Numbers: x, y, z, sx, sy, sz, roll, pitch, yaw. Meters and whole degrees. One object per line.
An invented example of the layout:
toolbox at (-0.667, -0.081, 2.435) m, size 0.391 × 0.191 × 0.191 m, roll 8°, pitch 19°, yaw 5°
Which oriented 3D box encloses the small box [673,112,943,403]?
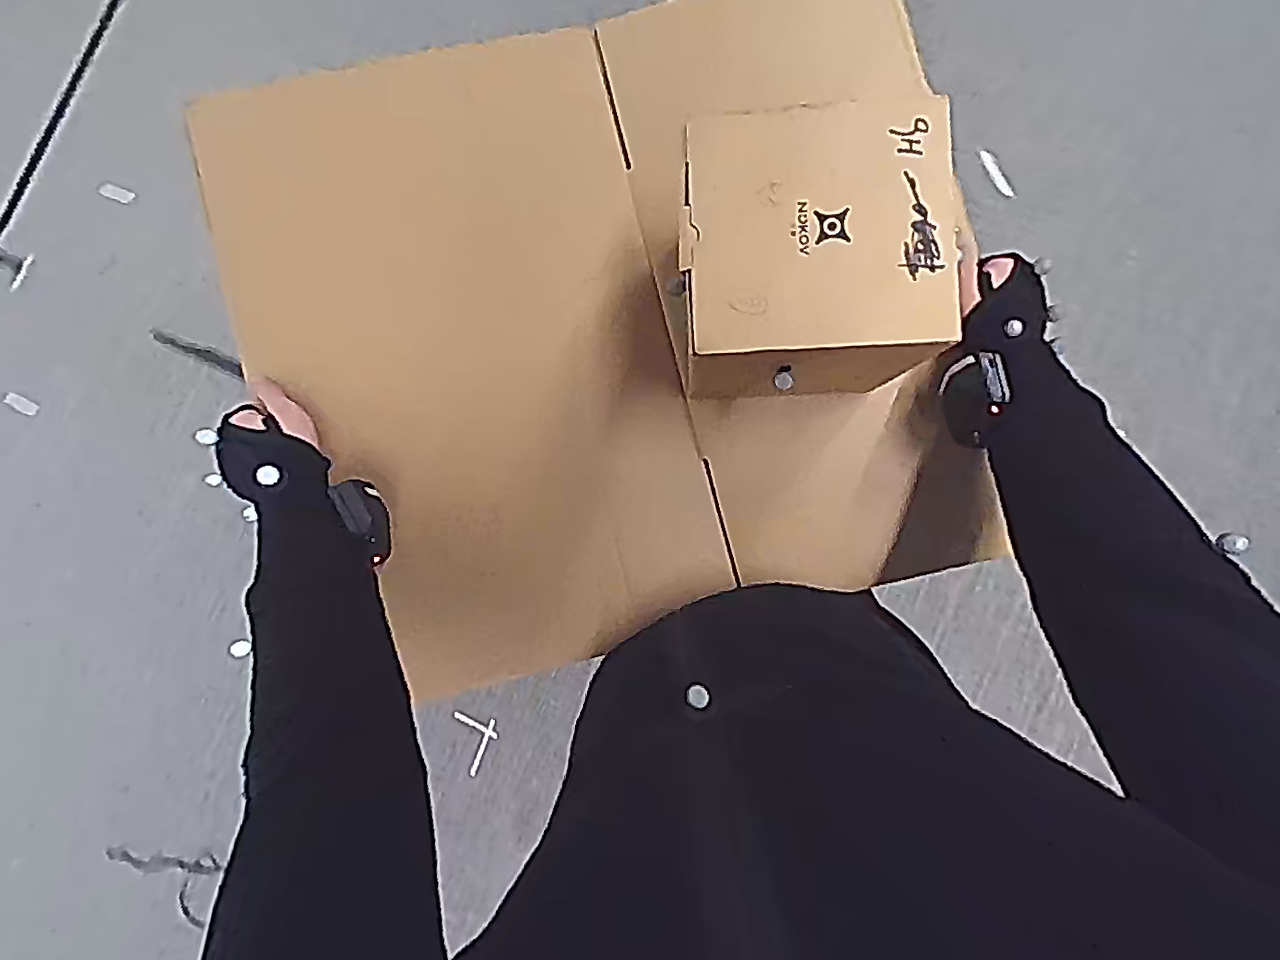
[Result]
small box at (0.123, -0.161, 0.452) m, size 0.179 × 0.176 × 0.168 m, roll -3°, pitch 88°, yaw 6°
